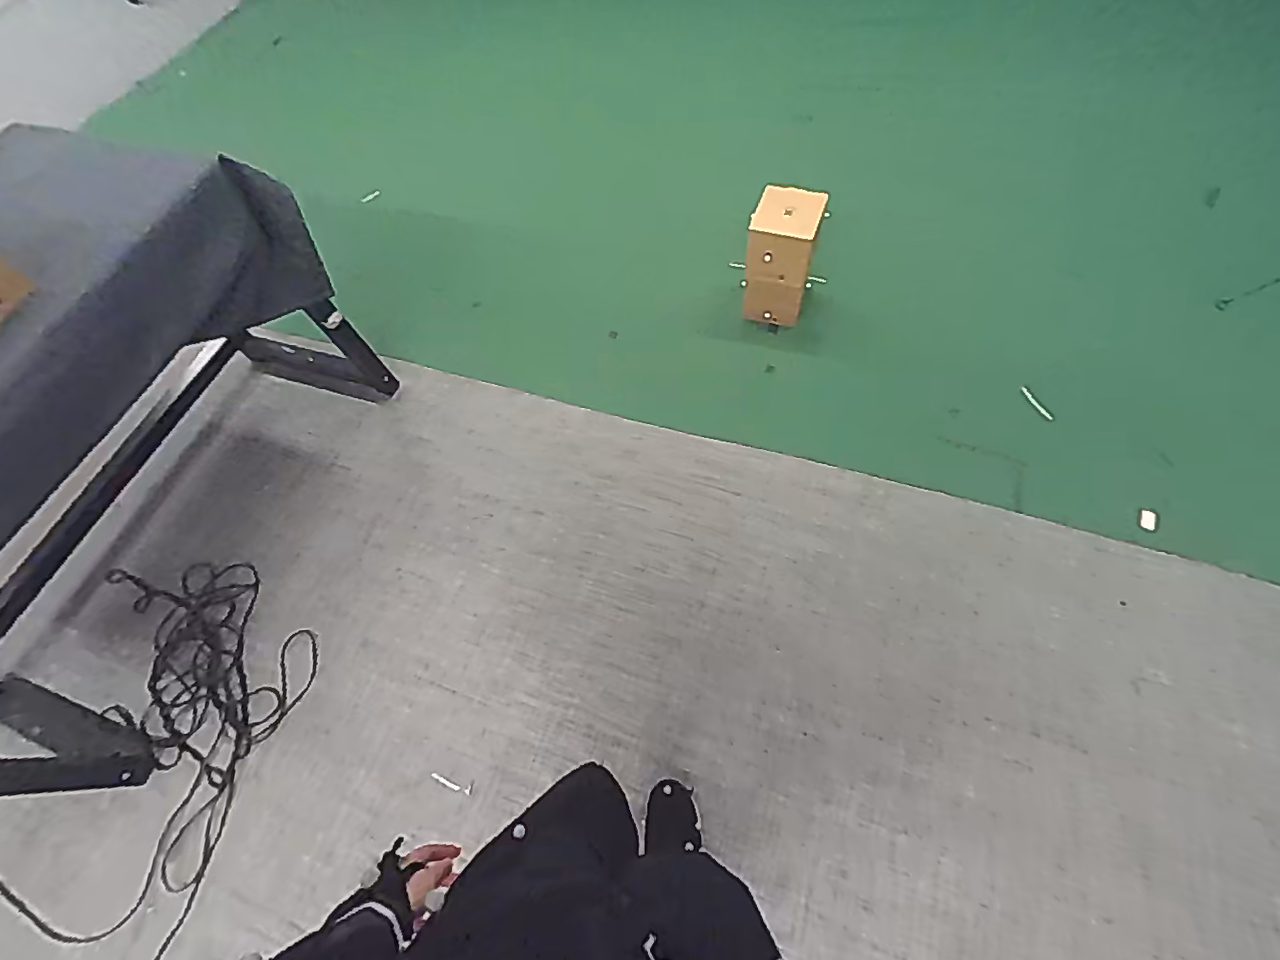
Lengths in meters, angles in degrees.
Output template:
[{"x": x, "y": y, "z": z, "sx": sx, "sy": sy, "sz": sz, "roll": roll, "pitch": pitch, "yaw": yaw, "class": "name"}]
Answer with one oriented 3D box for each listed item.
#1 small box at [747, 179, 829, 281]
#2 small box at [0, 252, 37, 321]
[{"x": 0.391, "y": -0.666, "z": 1.451, "sx": 0.168, "sy": 0.176, "sz": 0.179, "roll": 17, "pitch": 67, "yaw": 15, "class": "small box"}, {"x": -1.133, "y": -0.328, "z": 0.838, "sx": 0.179, "sy": 0.176, "sz": 0.168, "roll": 16, "pitch": 68, "yaw": 13, "class": "small box"}]
